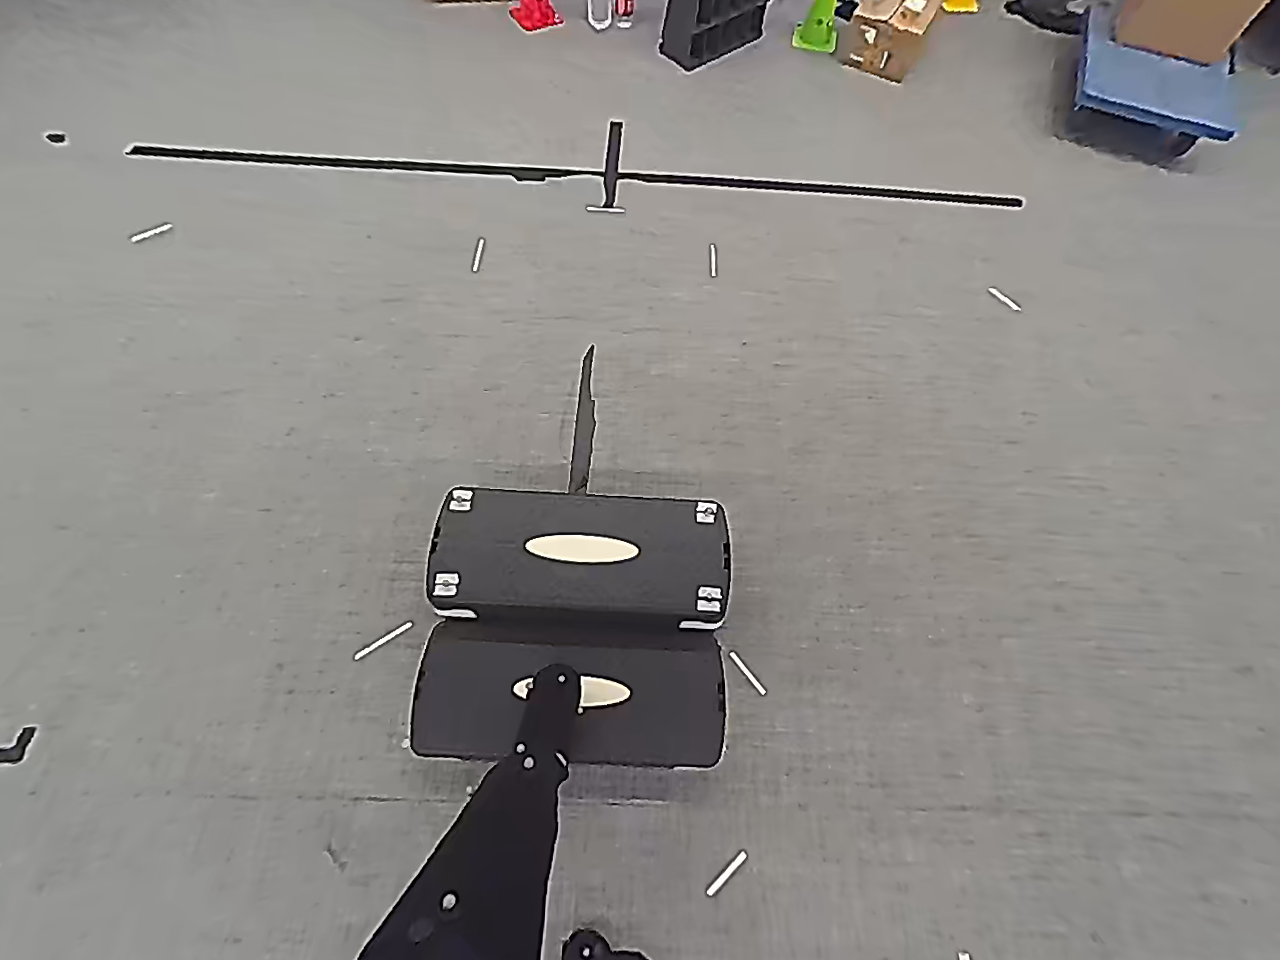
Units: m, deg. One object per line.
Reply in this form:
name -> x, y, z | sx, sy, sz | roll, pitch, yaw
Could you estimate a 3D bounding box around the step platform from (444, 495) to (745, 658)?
step platform -> -0.098, 0.228, 1.279 | 0.684, 0.204, 0.286 | 7, 62, 0
